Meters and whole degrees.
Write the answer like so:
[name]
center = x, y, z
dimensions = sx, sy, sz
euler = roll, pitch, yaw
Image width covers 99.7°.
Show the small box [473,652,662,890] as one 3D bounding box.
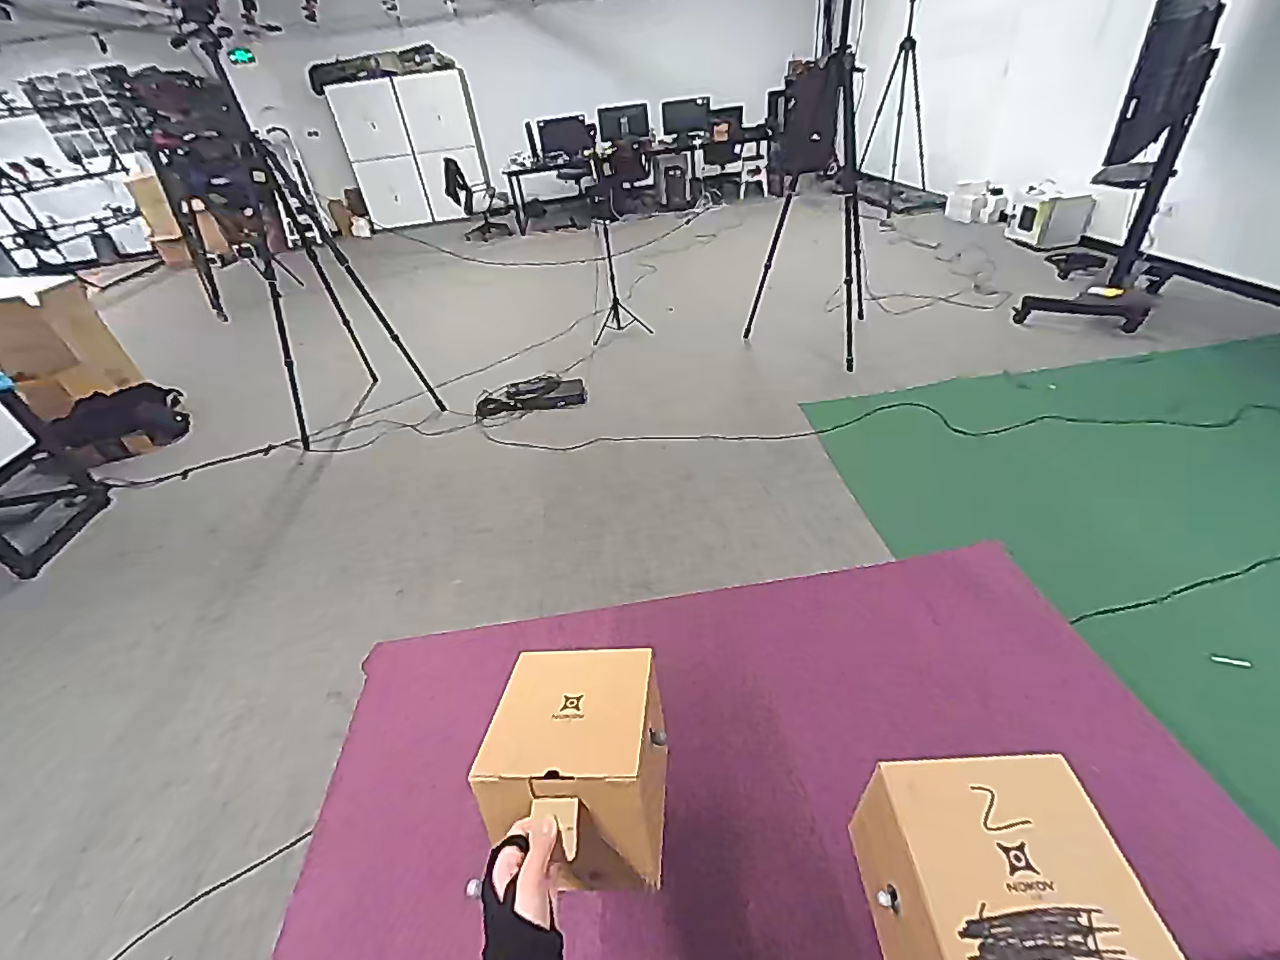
[small box]
center = -0.066, 0.322, 0.619
dimensions = 0.168, 0.176, 0.179
euler = -5, 24, 8
